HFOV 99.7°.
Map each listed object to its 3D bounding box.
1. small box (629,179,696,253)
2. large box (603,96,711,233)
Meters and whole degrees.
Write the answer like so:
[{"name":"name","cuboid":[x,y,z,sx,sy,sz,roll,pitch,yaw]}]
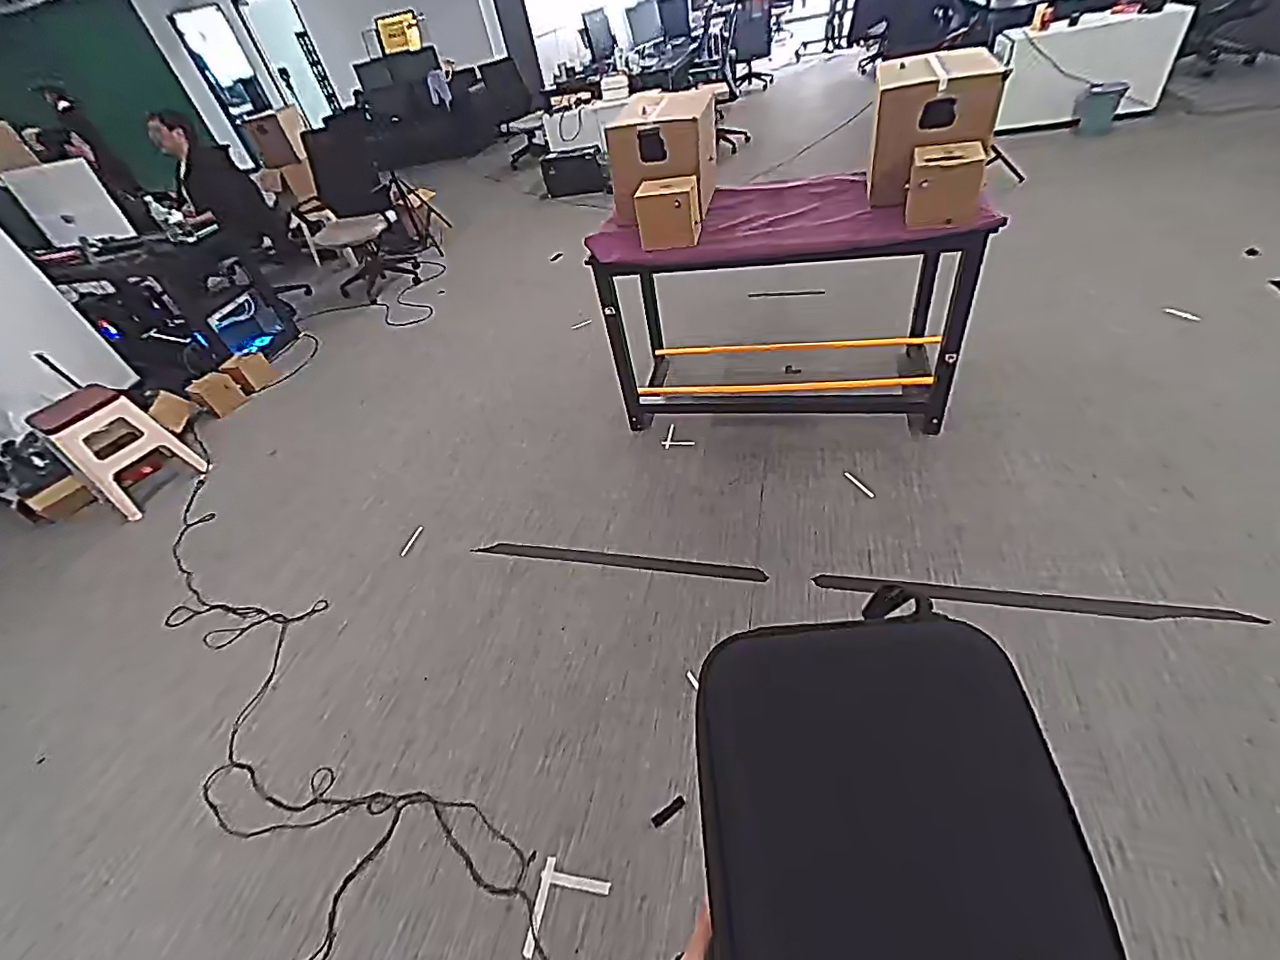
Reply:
[{"name":"small box","cuboid":[0.078,-0.848,1.746,0.179,0.176,0.168,1,43,14]},{"name":"large box","cuboid":[0.081,-1.135,1.944,0.320,0.320,0.408,2,47,14]}]
